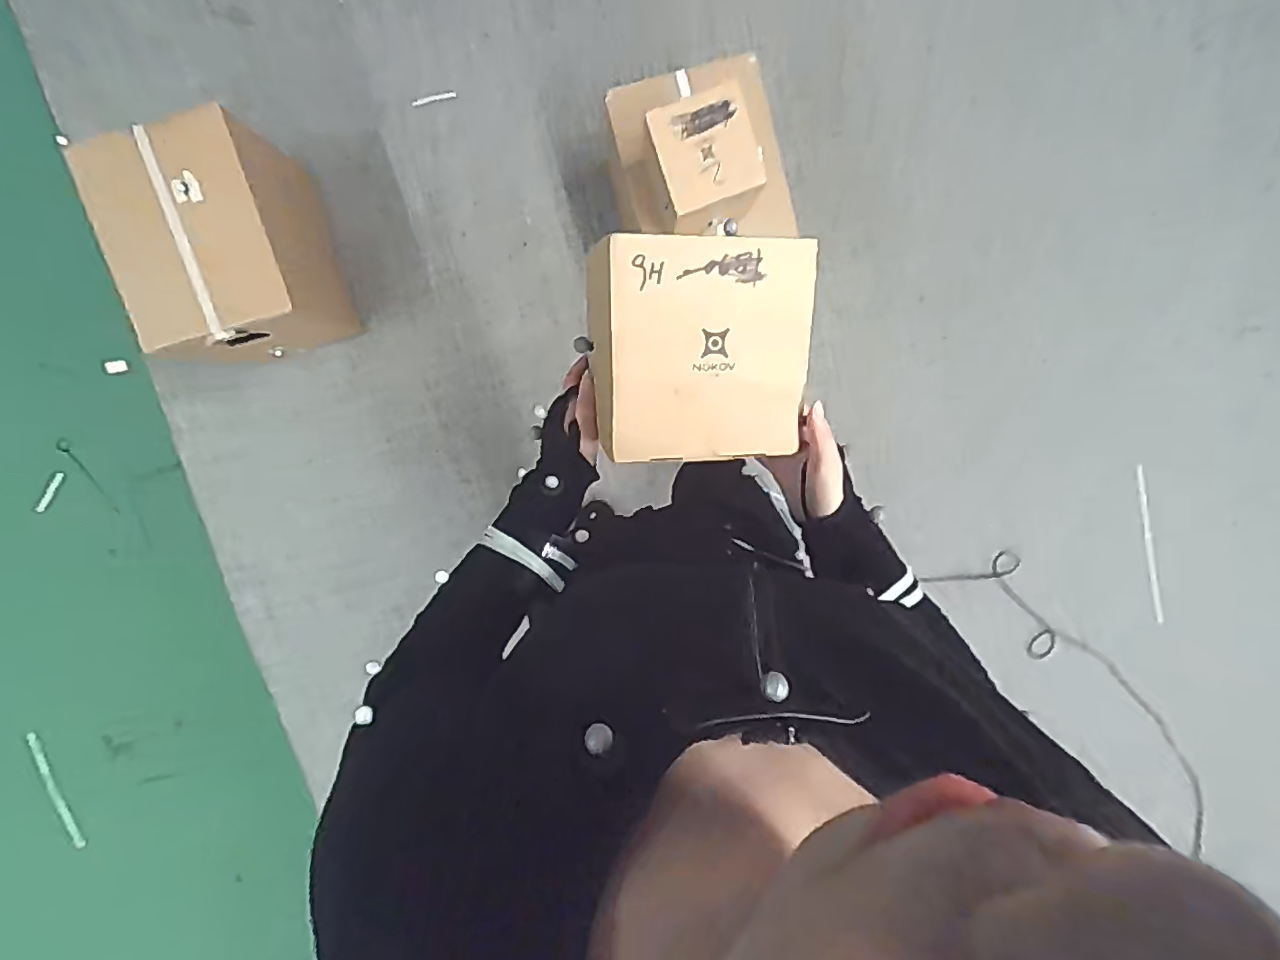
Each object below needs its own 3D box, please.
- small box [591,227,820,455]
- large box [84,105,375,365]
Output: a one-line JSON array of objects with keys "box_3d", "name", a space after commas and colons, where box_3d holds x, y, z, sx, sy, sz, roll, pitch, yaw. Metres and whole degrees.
[{"box_3d": [0.046, -0.133, 0.508, 0.168, 0.176, 0.179, -4, 110, -10], "name": "small box"}, {"box_3d": [-0.875, -0.508, 1.215, 0.320, 0.320, 0.408, -17, 97, 1], "name": "large box"}]
